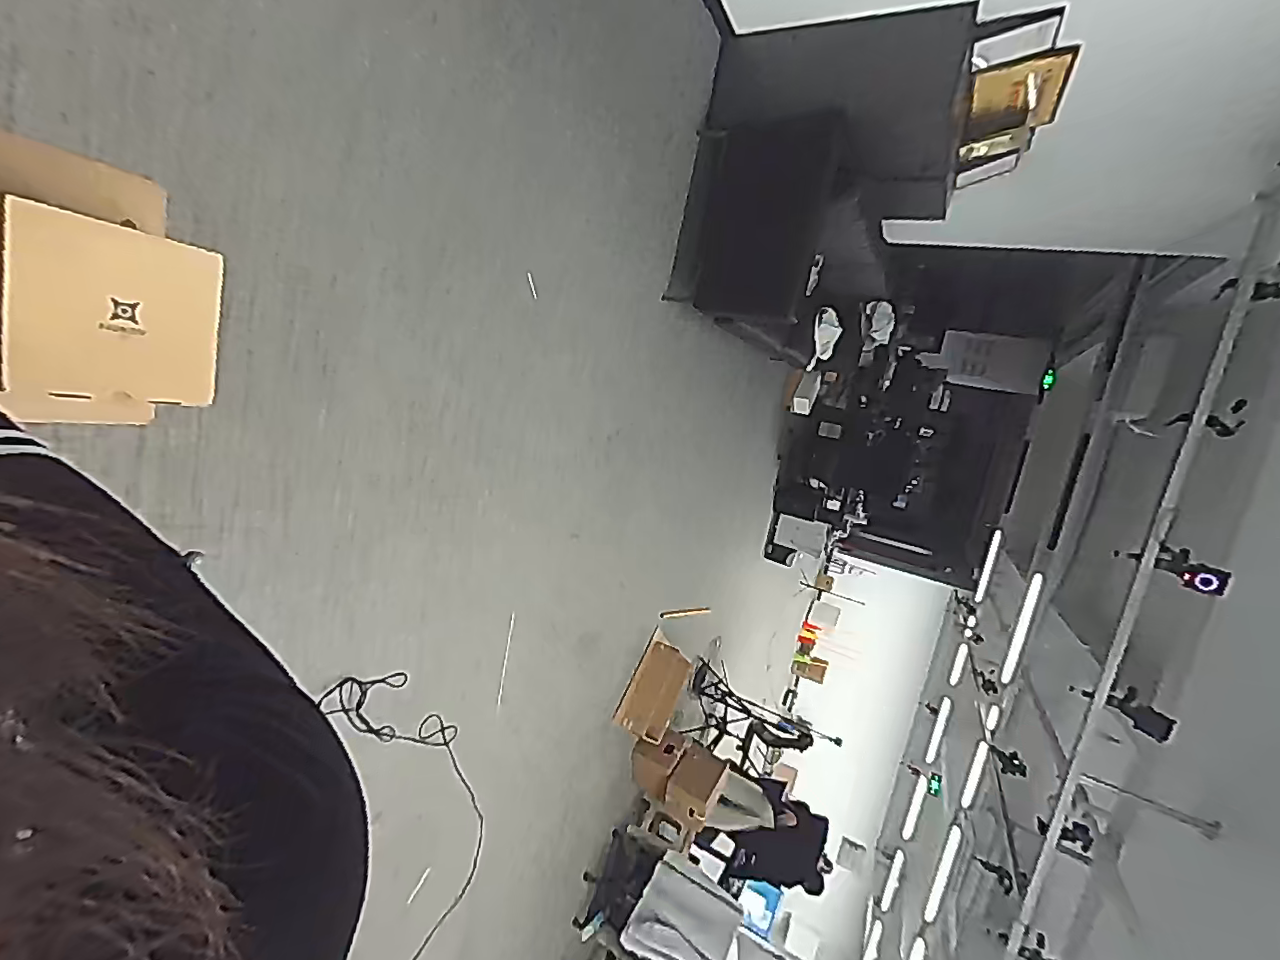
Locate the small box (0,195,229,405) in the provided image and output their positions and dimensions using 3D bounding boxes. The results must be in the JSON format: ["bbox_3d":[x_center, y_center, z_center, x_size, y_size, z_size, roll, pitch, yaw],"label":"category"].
[{"bbox_3d":[-0.587,-0.188,0.588,0.168,0.176,0.179,-5,109,-60],"label":"small box"}]
